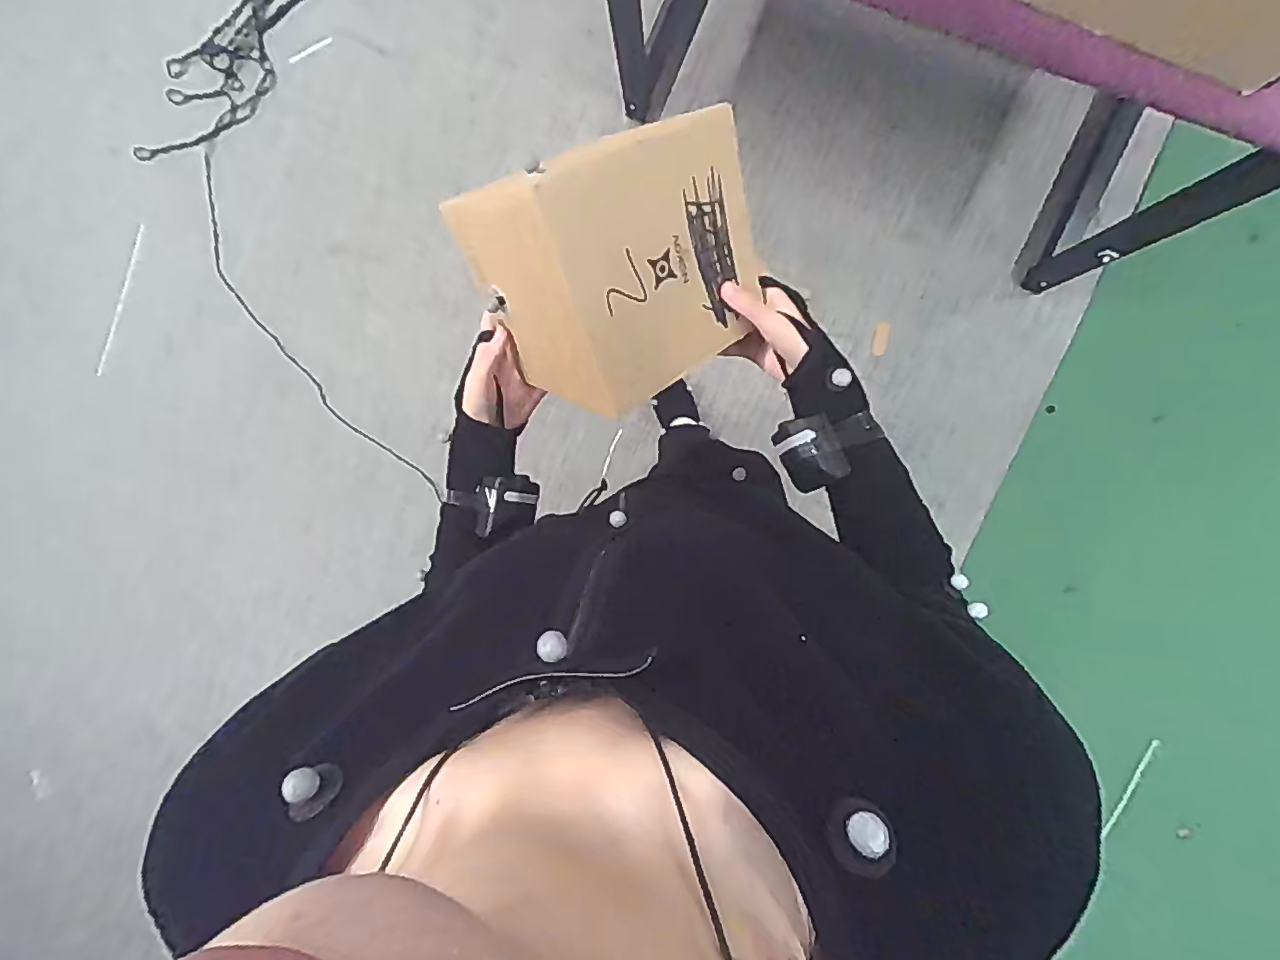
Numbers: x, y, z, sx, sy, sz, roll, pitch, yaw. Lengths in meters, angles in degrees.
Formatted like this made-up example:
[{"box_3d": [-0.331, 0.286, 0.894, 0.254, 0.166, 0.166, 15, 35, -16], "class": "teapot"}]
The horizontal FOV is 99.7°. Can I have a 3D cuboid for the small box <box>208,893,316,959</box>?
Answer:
[{"box_3d": [-0.900, 1.123, 1.245, 0.168, 0.176, 0.179, 42, 97, 1], "class": "small box"}]
